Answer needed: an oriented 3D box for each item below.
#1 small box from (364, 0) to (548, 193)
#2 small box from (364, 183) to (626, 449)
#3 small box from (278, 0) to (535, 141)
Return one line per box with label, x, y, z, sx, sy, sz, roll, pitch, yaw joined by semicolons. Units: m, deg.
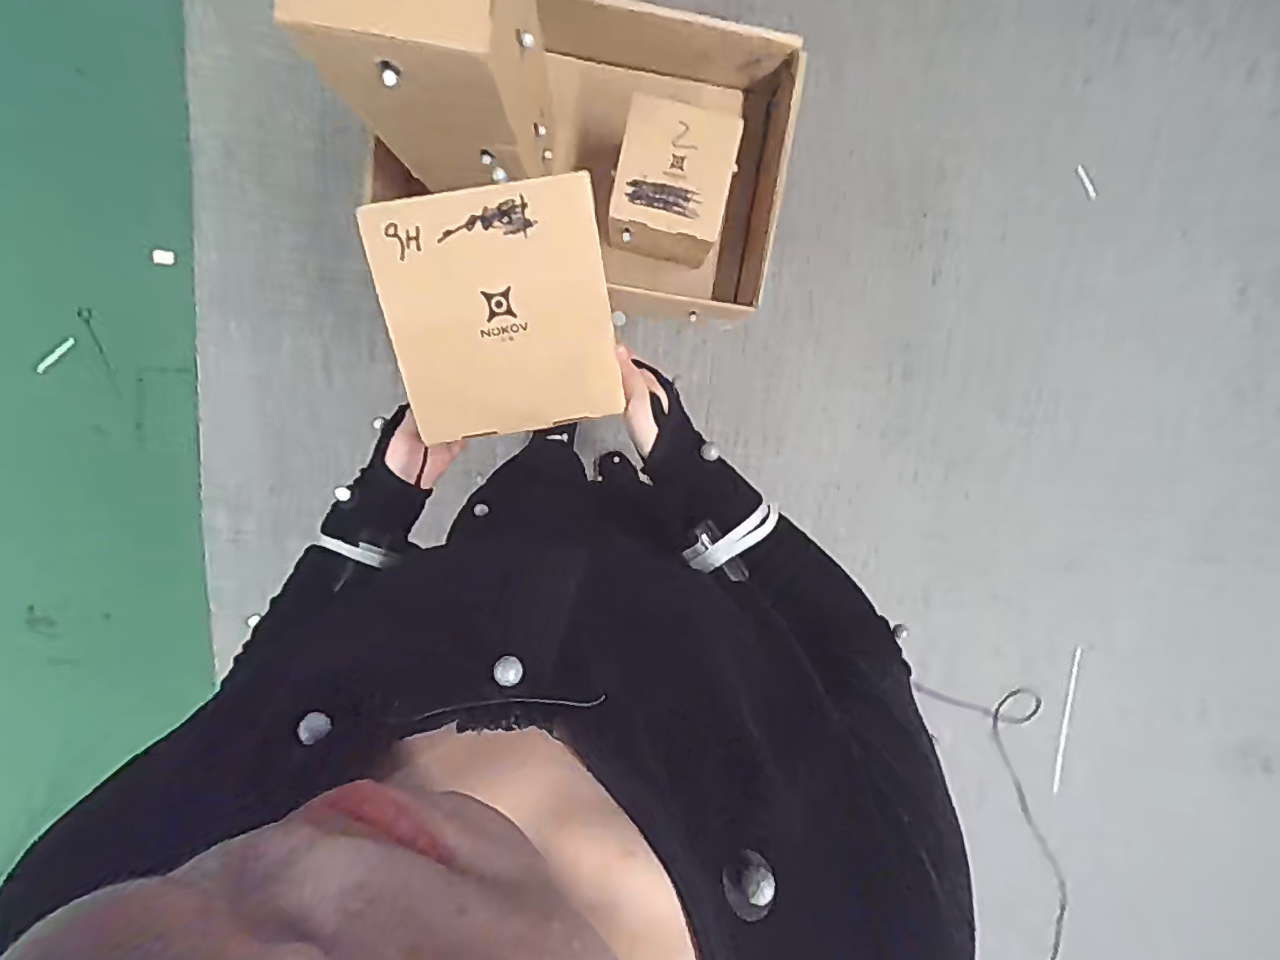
small box;-0.219;-0.487;0.682;0.179;0.176;0.168;8;98;-6
small box;-0.108;-0.143;0.481;0.168;0.176;0.179;-10;109;-2
small box;-0.206;-0.459;0.519;0.179;0.176;0.168;7;99;-6
